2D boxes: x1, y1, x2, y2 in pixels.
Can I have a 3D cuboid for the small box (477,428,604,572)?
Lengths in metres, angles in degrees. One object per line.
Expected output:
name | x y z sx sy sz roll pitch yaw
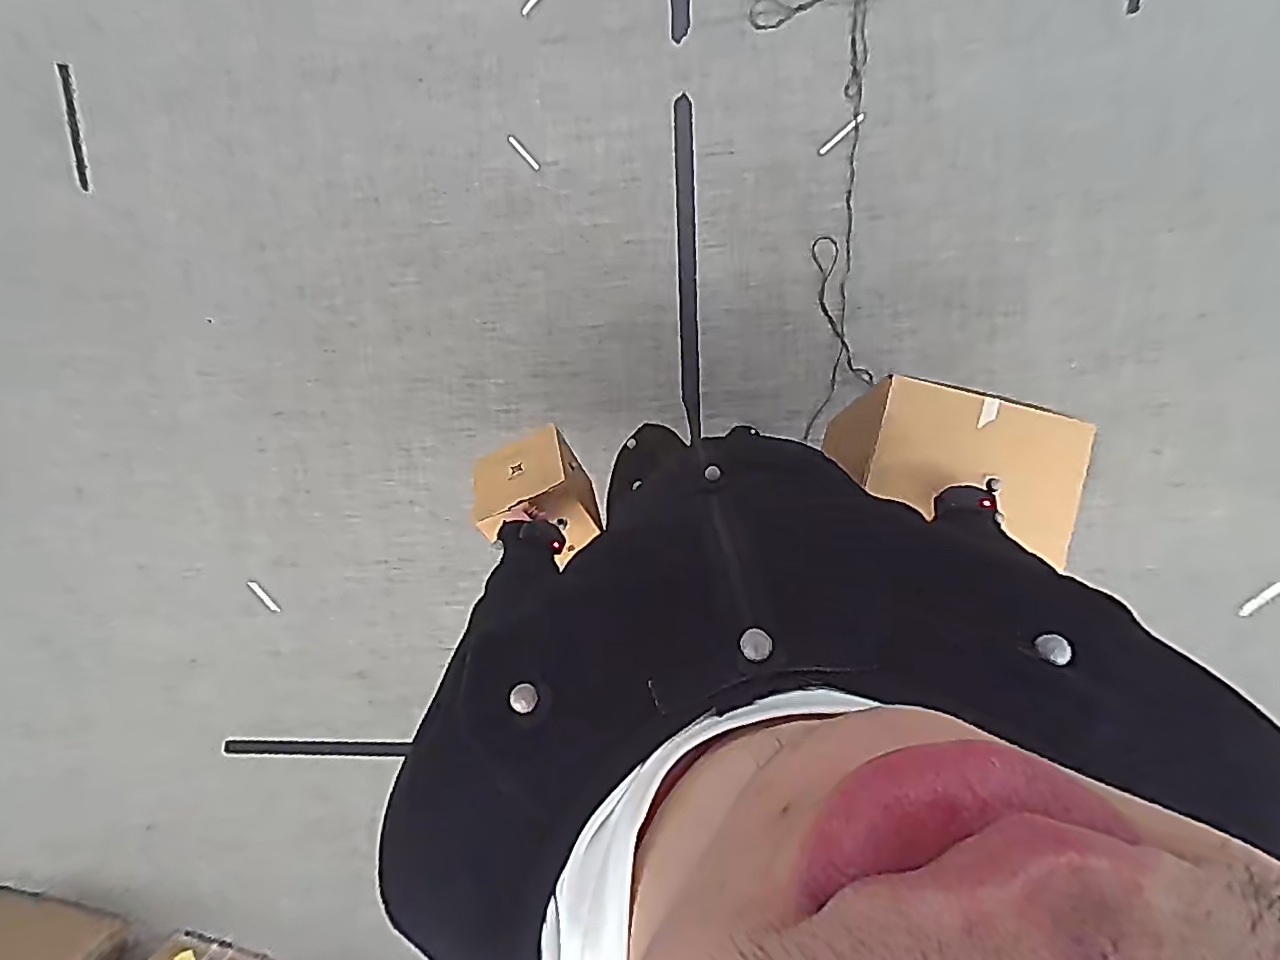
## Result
small box | -0.178 0.044 0.983 0.168 0.179 0.176 -24 131 4
